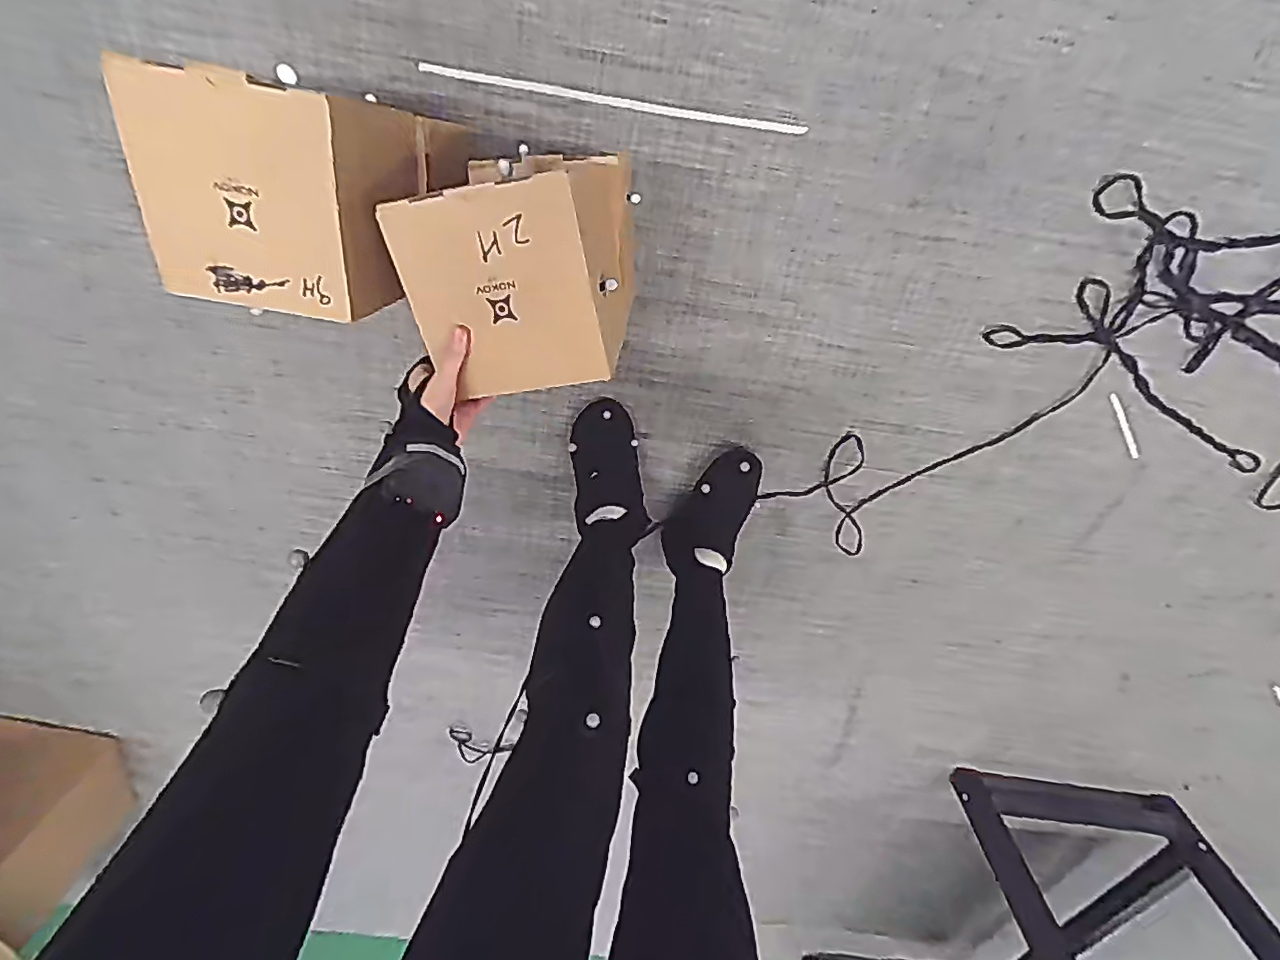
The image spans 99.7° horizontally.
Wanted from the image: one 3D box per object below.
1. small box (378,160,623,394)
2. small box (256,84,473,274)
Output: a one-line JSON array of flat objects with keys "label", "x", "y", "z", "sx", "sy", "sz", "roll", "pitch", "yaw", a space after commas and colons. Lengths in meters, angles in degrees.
[{"label": "small box", "x": -0.114, "y": -0.205, "z": 0.535, "sx": 0.168, "sy": 0.176, "sz": 0.179, "roll": -6, "pitch": 120, "yaw": 7}, {"label": "small box", "x": -0.310, "y": -0.356, "z": 0.654, "sx": 0.179, "sy": 0.176, "sz": 0.168, "roll": 8, "pitch": 119, "yaw": -2}]
